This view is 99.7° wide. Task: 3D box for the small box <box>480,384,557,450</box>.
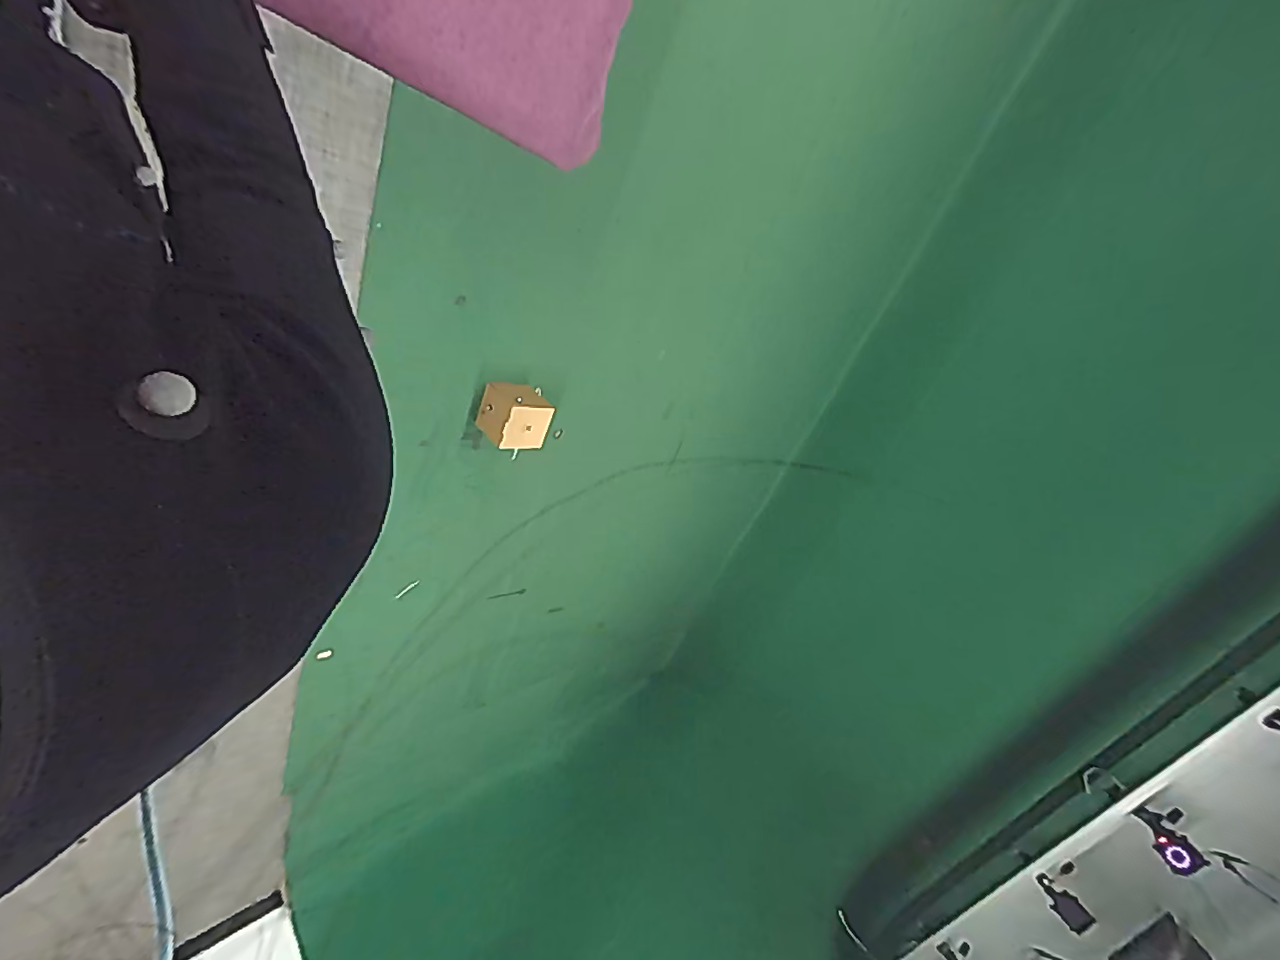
[{"bbox_3d":[-0.425,-0.220,1.879,0.179,0.176,0.168,-6,129,-47],"label":"small box"}]
